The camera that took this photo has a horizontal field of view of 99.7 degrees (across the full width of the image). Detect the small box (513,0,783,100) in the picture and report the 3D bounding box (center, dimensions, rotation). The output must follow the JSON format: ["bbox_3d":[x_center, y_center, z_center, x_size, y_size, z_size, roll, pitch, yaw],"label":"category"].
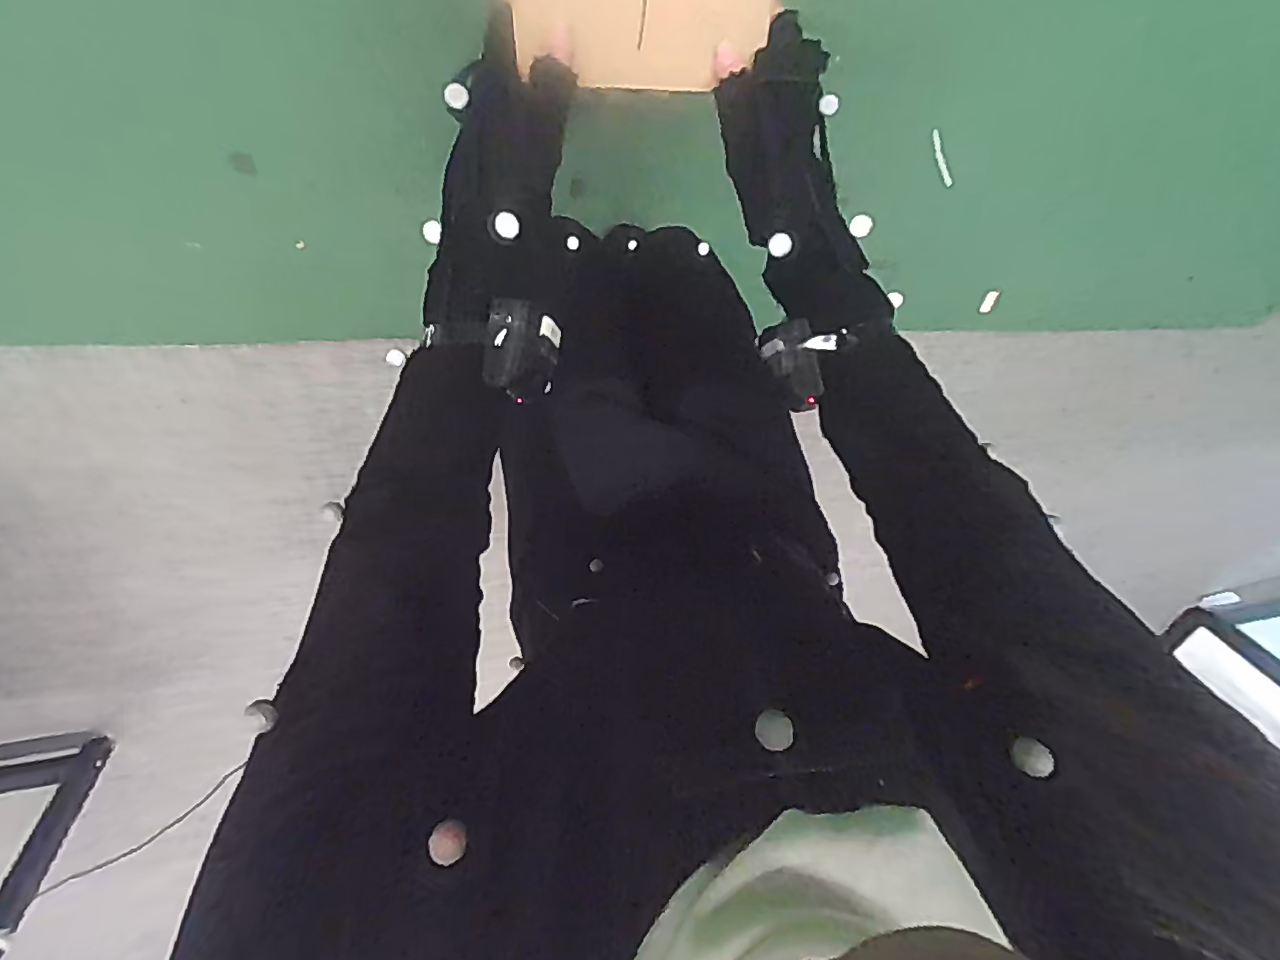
[{"bbox_3d":[0.000,-0.371,0.358,0.168,0.176,0.179,-2,131,-6],"label":"small box"}]

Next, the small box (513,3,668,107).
[{"bbox_3d":[-0.050,-0.538,0.596,0.168,0.176,0.179,-1,128,-17],"label":"small box"}]
